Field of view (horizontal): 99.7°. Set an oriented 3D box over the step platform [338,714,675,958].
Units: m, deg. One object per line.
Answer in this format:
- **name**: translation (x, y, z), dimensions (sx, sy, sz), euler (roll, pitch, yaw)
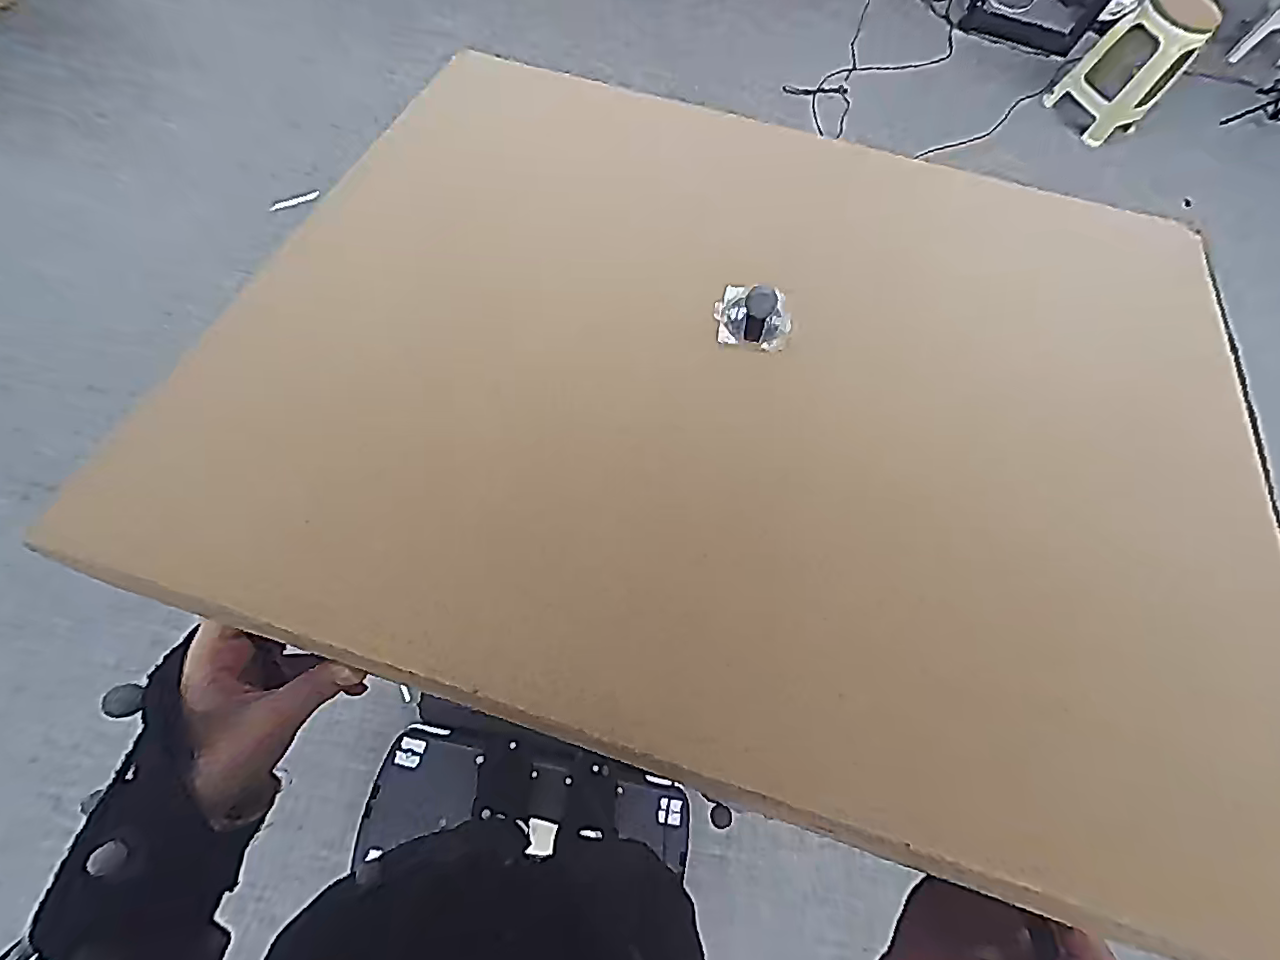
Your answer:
- **step platform**: translation (-0.269, 0.755, 1.181), dimensions (0.684, 0.204, 0.286), euler (18, 68, 0)
